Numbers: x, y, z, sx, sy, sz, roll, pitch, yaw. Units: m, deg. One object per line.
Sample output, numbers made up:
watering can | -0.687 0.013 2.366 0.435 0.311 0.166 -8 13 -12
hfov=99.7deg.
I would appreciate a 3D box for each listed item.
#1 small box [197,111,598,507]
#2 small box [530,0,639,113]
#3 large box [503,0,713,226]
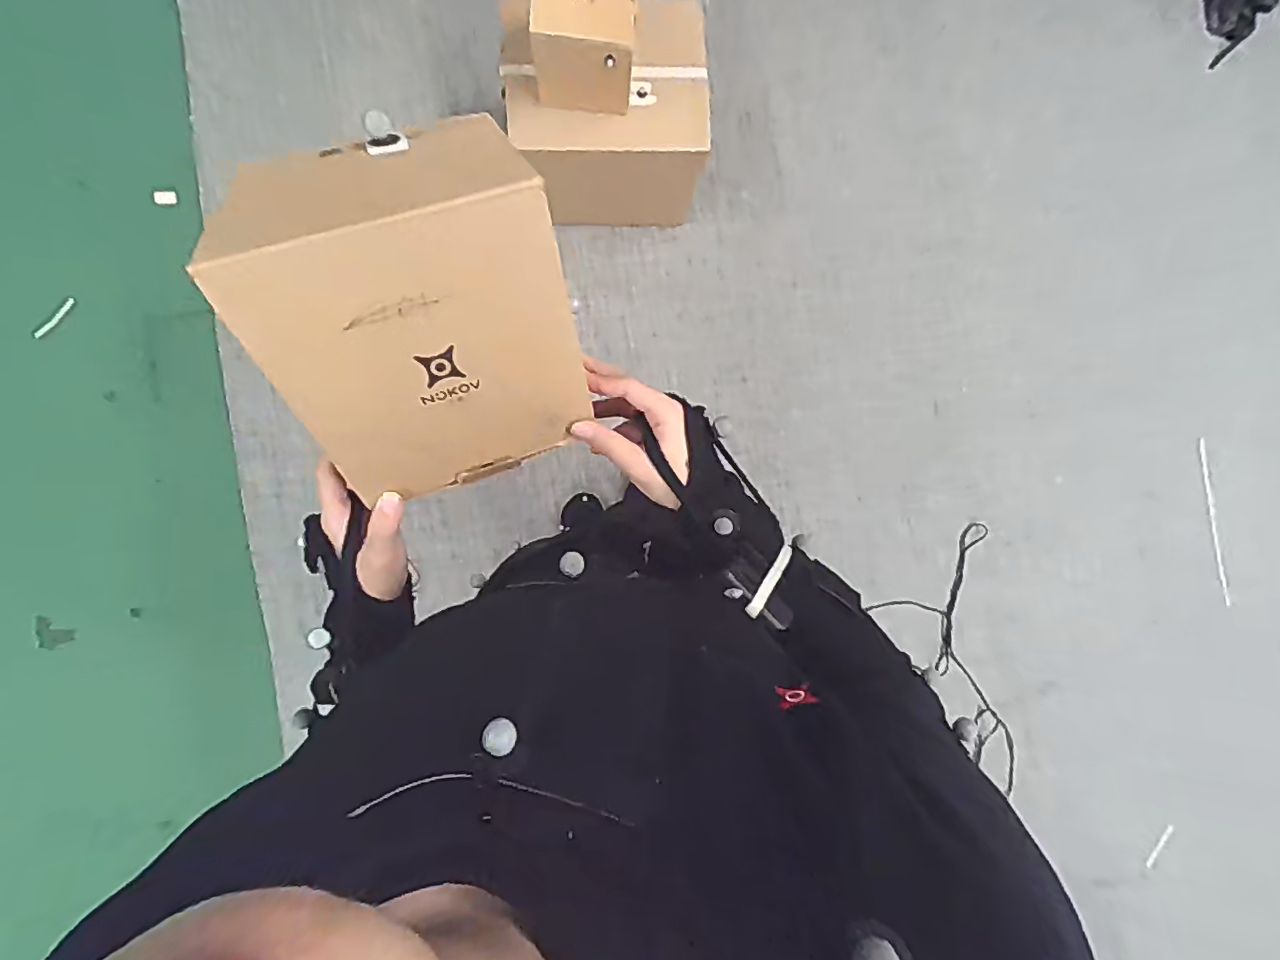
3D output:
small box | -0.143 -0.118 0.367 0.168 0.179 0.176 -21 48 -11
small box | -0.096 -0.797 0.969 0.179 0.176 0.168 3 88 -6
large box | -0.077 -0.795 1.215 0.408 0.320 0.320 -3 90 -7
